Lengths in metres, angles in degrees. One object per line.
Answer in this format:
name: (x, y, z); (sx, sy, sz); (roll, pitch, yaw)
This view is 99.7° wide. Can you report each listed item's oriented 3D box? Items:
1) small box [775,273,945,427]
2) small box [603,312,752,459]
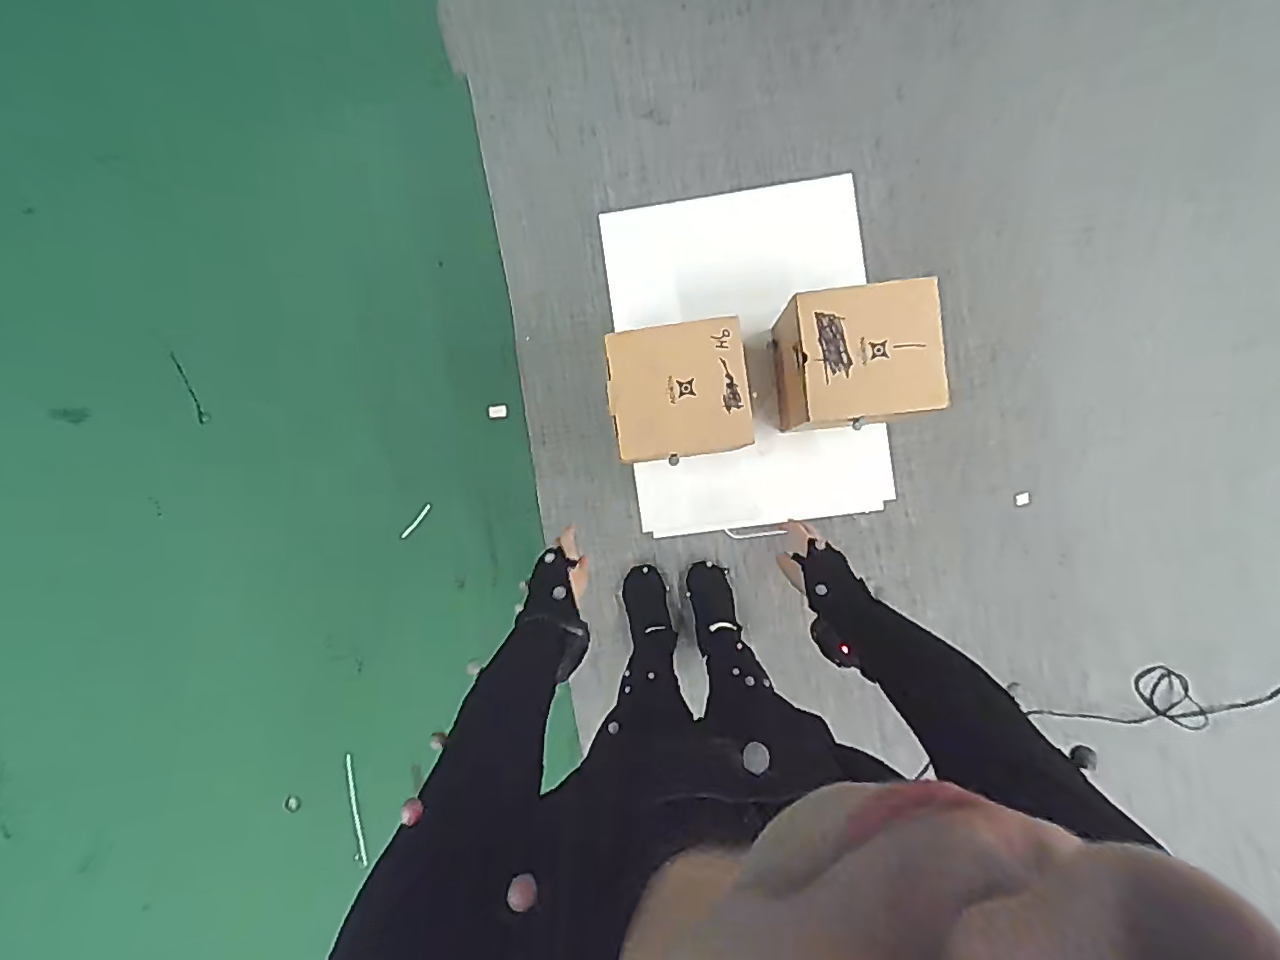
small box: (0.291, -0.169, 0.756); (0.179, 0.176, 0.168); (-6, 90, 3)
small box: (0.051, -0.123, 0.767); (0.179, 0.176, 0.168); (-8, 90, 1)
